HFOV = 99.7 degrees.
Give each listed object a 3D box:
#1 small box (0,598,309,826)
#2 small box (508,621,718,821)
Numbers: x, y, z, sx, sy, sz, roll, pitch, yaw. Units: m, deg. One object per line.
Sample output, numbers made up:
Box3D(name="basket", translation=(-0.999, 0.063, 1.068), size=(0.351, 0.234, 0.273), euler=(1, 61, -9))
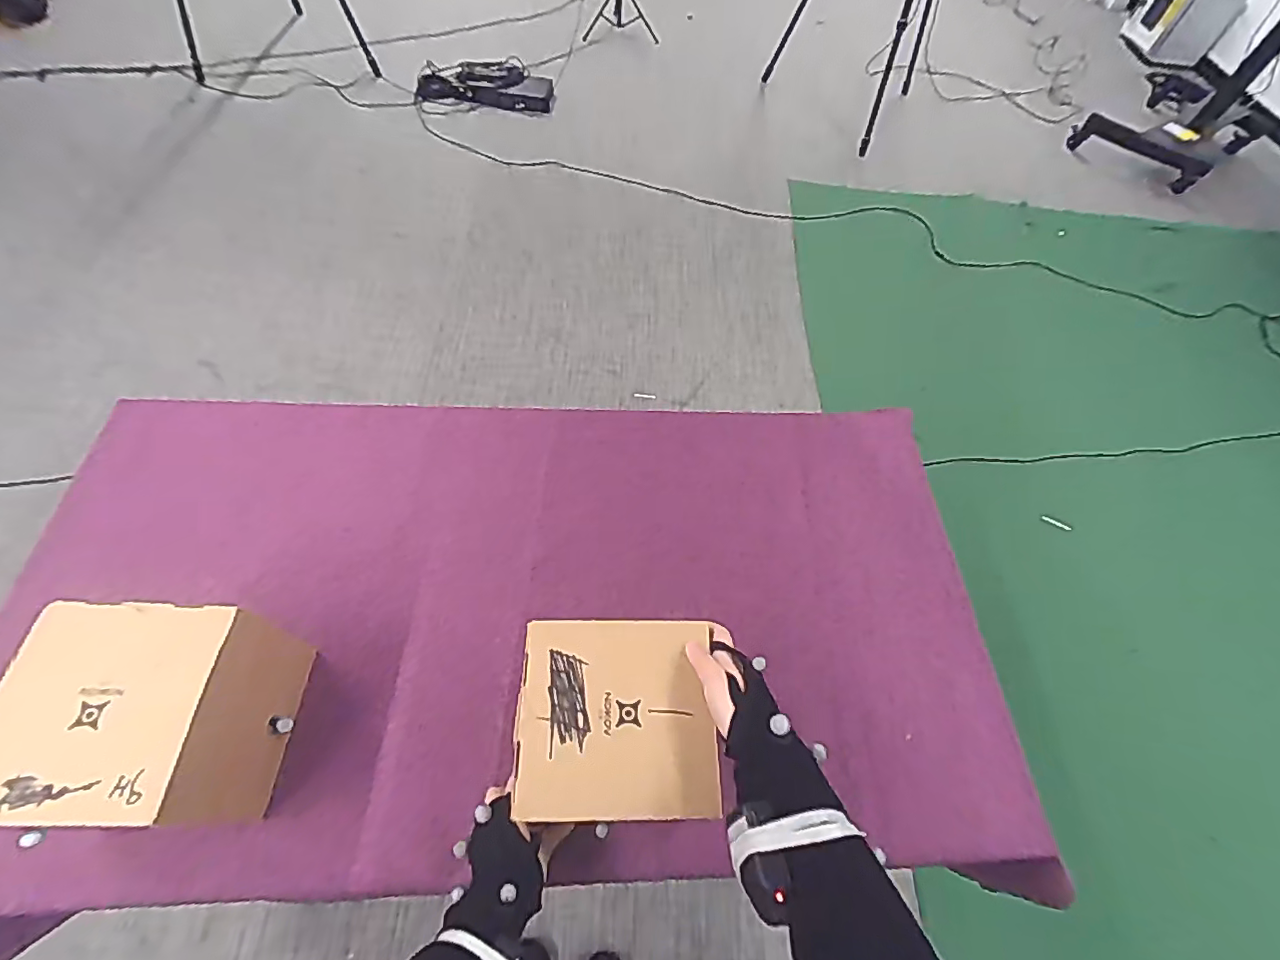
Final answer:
Box3D(name="small box", translation=(-0.458, 0.230, 0.525), size=(0.168, 0.176, 0.179), euler=(3, 58, -3))
Box3D(name="small box", translation=(-0.025, 0.249, 0.551), size=(0.179, 0.176, 0.168), euler=(2, 59, -3))
